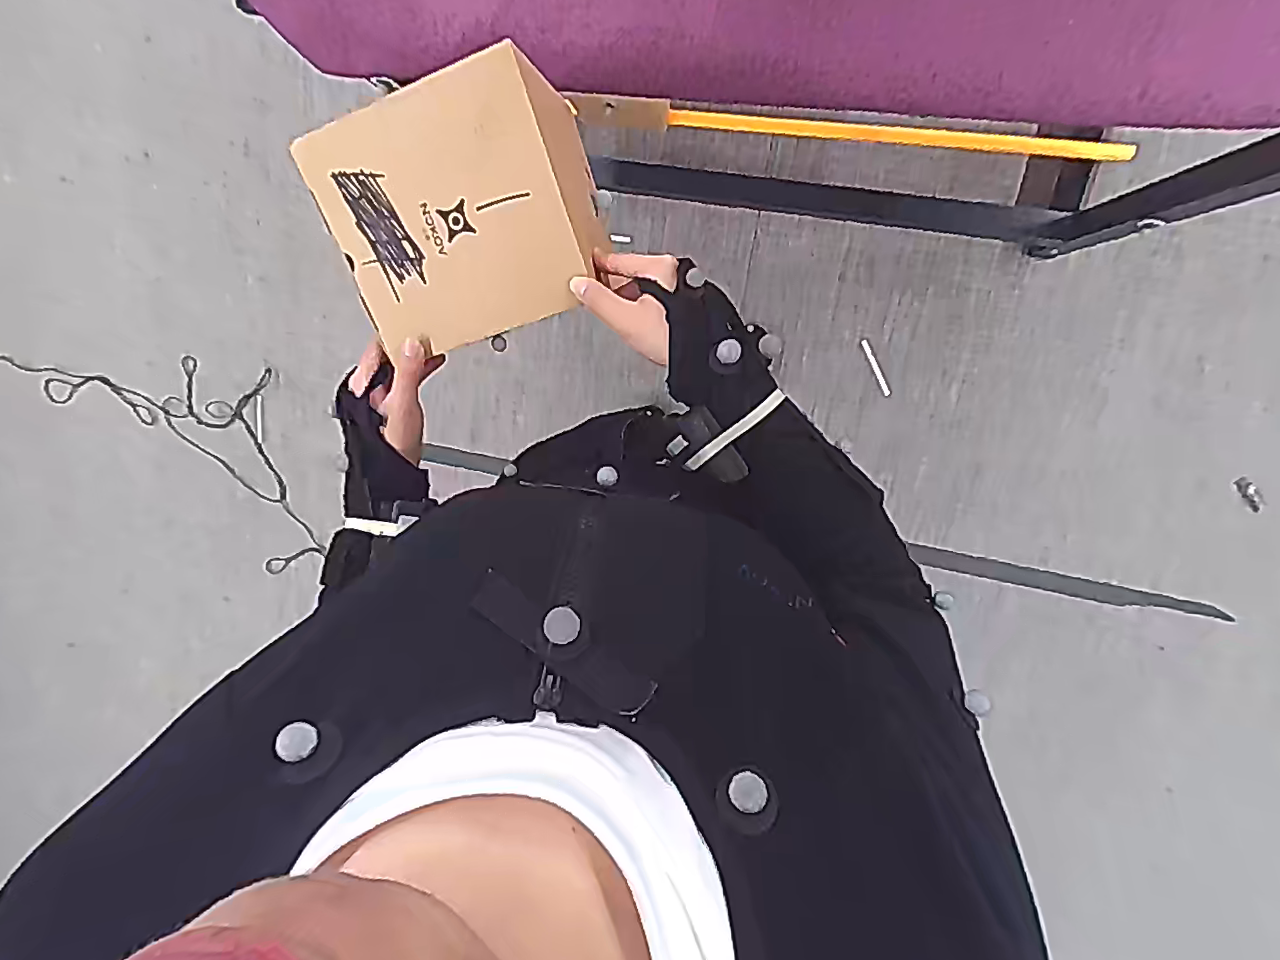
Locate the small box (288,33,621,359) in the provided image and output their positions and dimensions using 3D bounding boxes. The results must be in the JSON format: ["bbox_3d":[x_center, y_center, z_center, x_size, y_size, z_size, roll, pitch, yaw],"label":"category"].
[{"bbox_3d":[-0.128,-0.213,0.450,0.179,0.176,0.168,-15,110,11],"label":"small box"}]

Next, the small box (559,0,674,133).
[{"bbox_3d":[-0.037,-0.767,1.003,0.179,0.176,0.168,9,107,6],"label":"small box"}]
